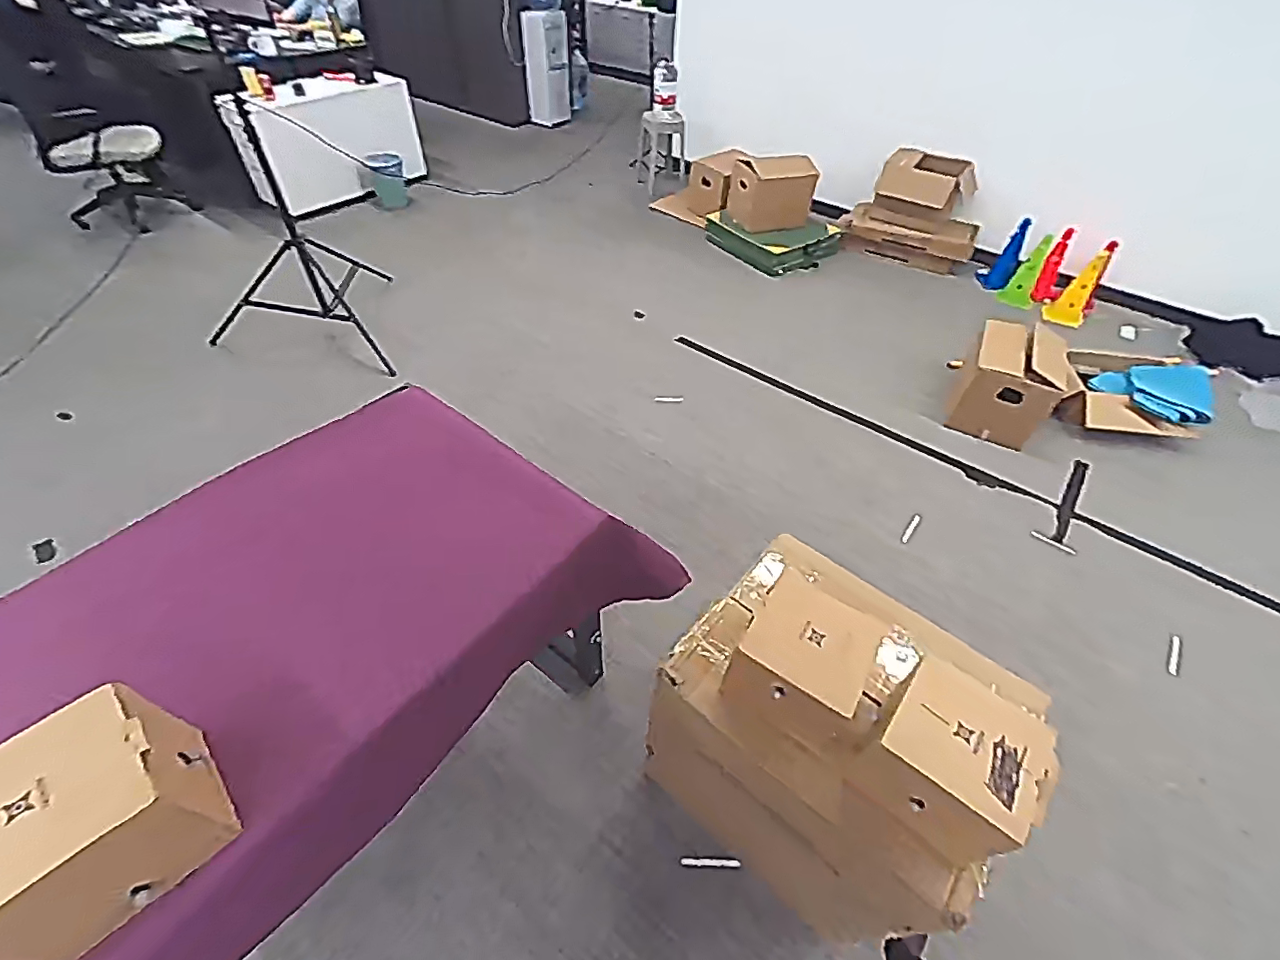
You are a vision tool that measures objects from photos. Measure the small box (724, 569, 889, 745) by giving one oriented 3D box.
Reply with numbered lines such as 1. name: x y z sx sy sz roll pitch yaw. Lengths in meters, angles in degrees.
1. small box: 0.250 0.280 0.847 0.179 0.176 0.168 29 54 21

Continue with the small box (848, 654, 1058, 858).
1. small box: 0.423 0.387 0.753 0.179 0.176 0.168 31 54 26

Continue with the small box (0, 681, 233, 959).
1. small box: -0.586 0.364 0.586 0.179 0.176 0.168 -35 57 -30
